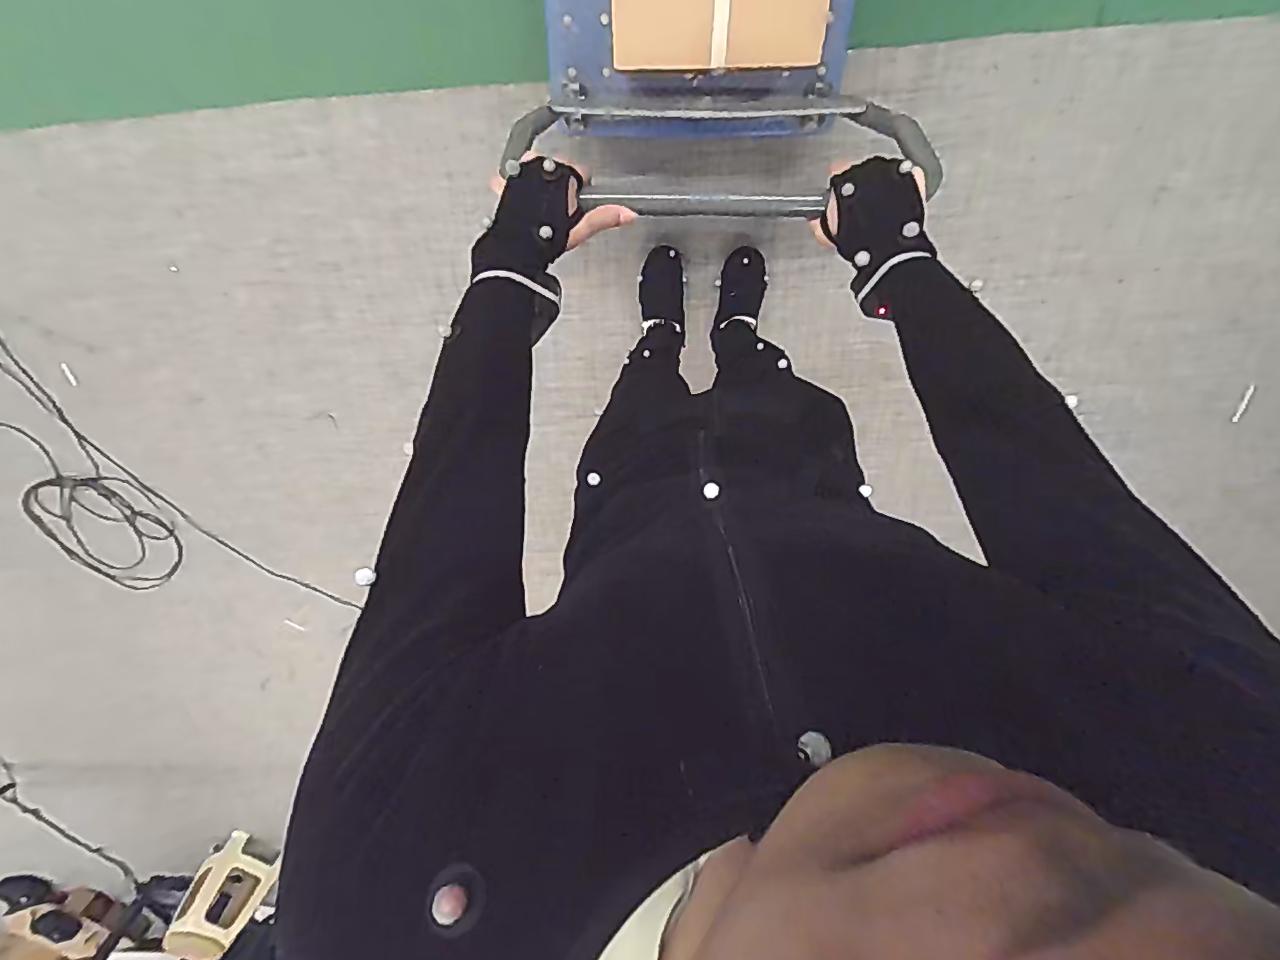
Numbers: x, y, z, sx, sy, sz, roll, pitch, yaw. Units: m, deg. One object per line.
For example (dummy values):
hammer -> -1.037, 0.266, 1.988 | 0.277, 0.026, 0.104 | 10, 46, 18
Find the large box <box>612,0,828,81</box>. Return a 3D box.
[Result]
large box -> 0.119, -0.870, 0.829 | 0.320, 0.320, 0.408 | 1, 125, 2
